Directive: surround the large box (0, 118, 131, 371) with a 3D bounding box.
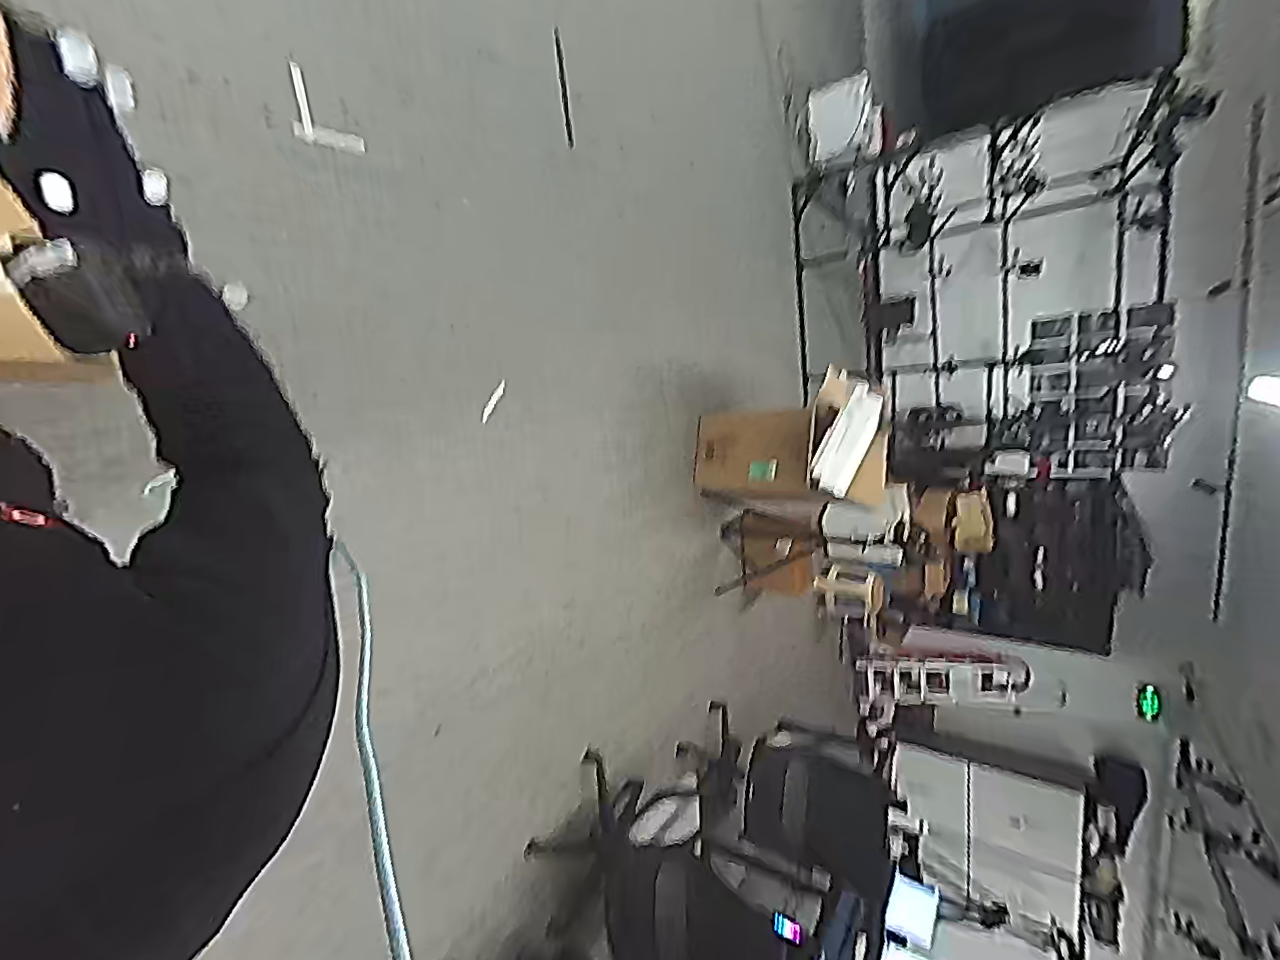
[{"bbox_3d":[-1.034,-0.318,0.738,0.408,0.320,0.320,-17,105,-55],"label":"large box"}]
